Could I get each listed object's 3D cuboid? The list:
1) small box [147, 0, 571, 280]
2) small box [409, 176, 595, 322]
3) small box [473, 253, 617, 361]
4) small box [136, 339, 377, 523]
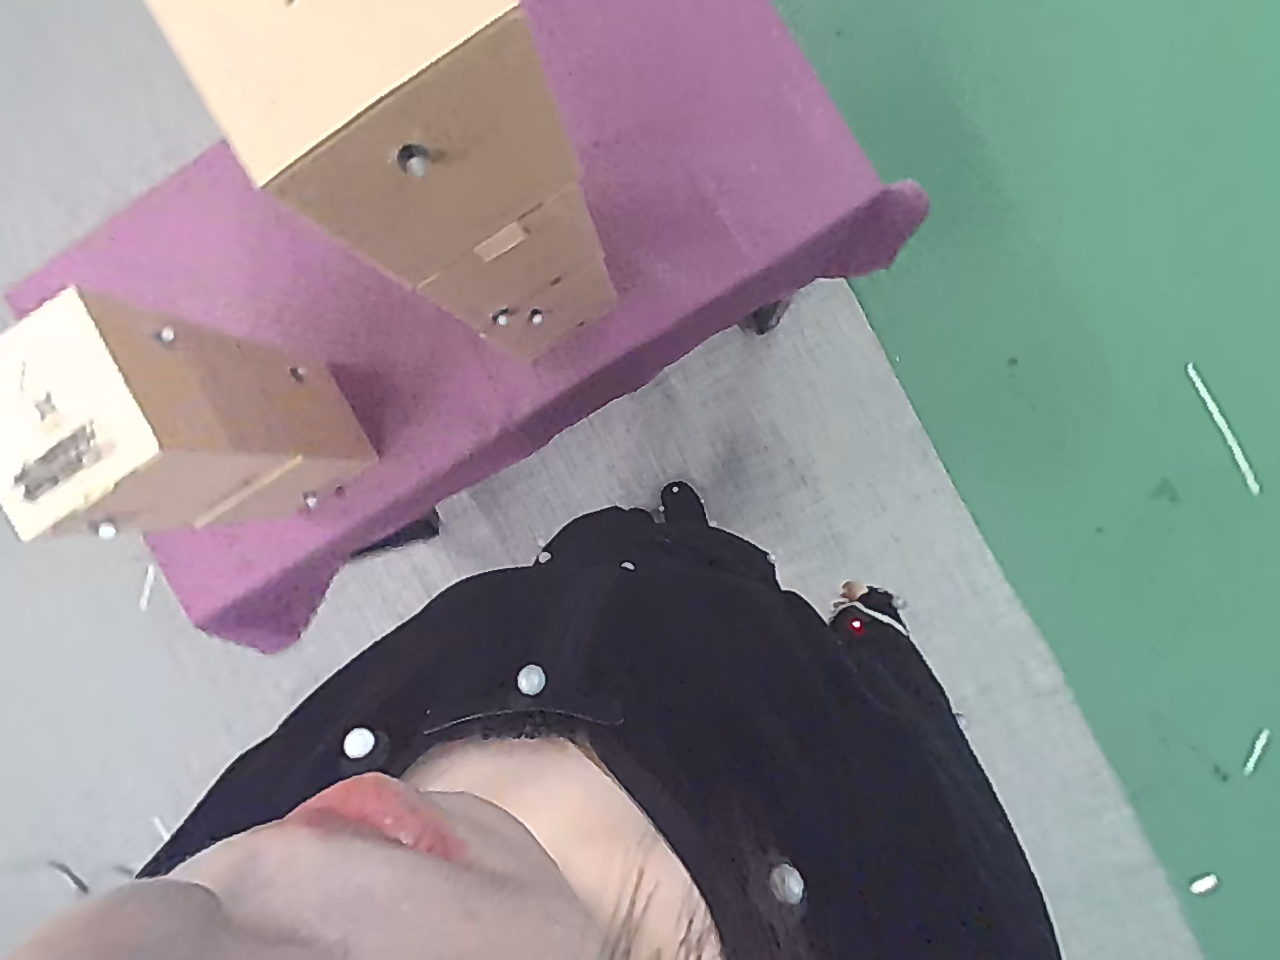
[{"bbox_3d":[-0.171,-0.272,0.377,0.179,0.176,0.168,-31,90,4],"label":"small box"},{"bbox_3d":[-0.162,-0.279,0.541,0.168,0.176,0.179,-32,88,4],"label":"small box"},{"bbox_3d":[-0.149,-0.281,0.706,0.168,0.176,0.179,-32,88,6],"label":"small box"},{"bbox_3d":[-0.506,-0.060,0.740,0.168,0.176,0.179,-30,89,5],"label":"small box"}]
